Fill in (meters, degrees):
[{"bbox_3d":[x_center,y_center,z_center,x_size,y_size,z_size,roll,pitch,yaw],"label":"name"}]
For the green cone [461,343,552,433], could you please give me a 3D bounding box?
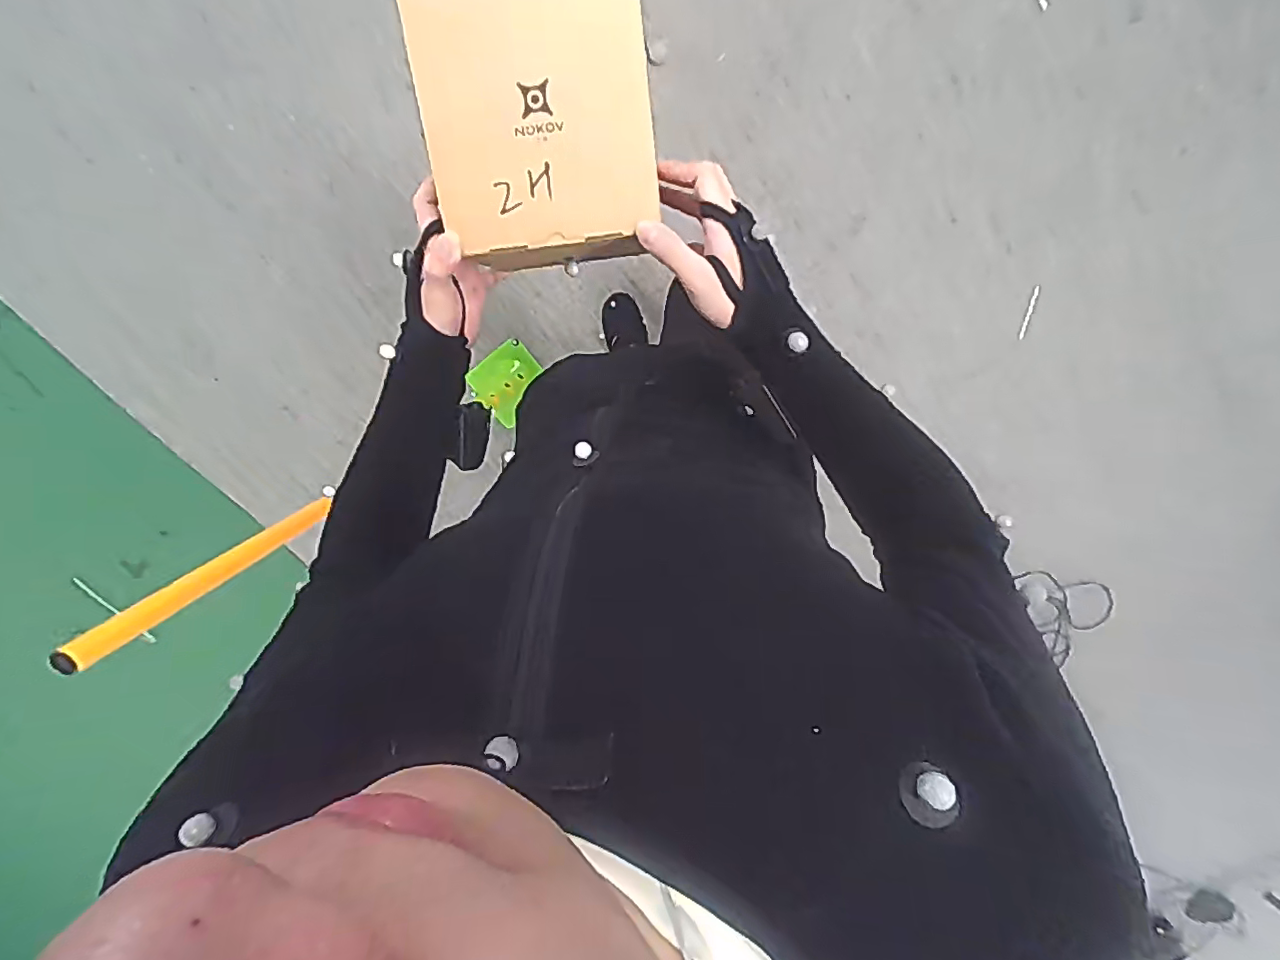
[{"bbox_3d":[-0.375,-0.194,1.371,0.200,0.368,0.202,-35,108,12],"label":"green cone"}]
